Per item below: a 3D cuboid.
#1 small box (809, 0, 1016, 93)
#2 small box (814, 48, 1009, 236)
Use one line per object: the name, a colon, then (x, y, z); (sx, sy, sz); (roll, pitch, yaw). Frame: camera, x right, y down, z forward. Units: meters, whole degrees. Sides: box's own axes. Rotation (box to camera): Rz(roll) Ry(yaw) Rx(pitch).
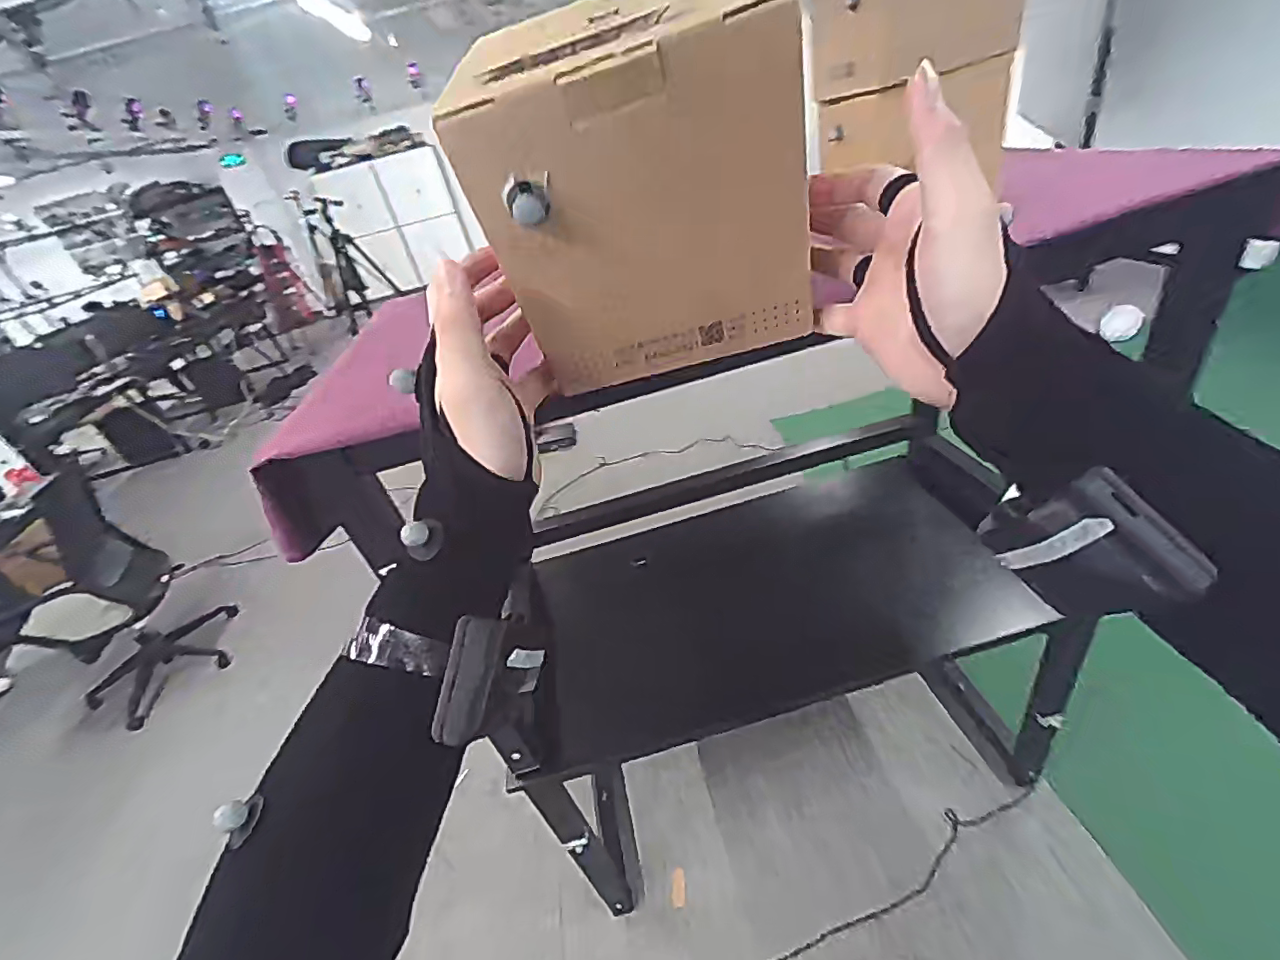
small box: (0.309, -0.565, 0.625); (0.179, 0.176, 0.168); (-17, 33, -2)
small box: (0.348, -0.438, 0.720); (0.168, 0.176, 0.179); (-15, 32, 1)
